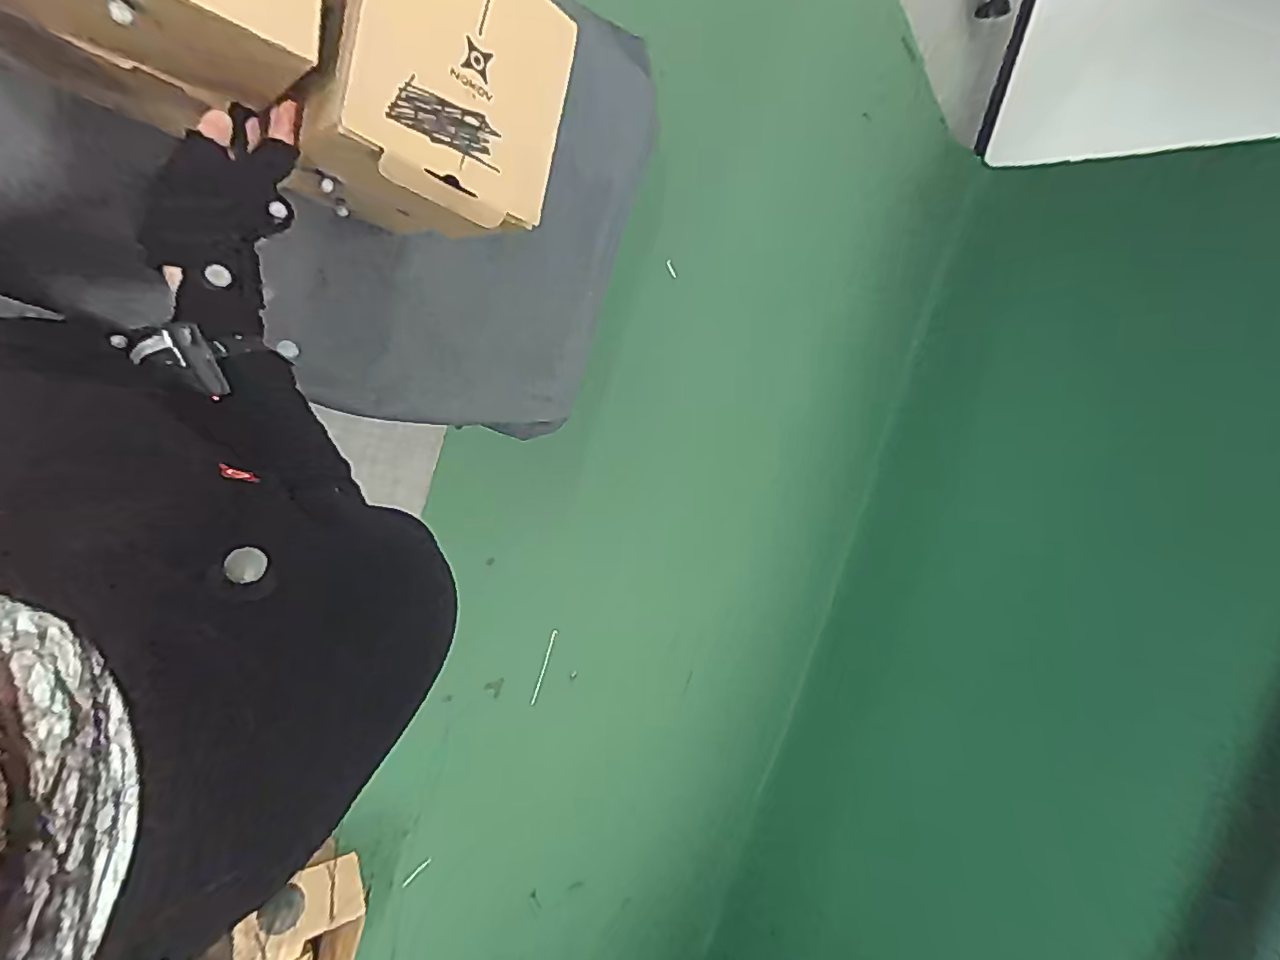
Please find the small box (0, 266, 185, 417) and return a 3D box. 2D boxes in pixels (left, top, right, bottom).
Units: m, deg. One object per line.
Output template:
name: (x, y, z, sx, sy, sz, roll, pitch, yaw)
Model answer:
small box: (-1.002, -0.253, 1.007, 0.168, 0.176, 0.179, 41, 48, -16)
